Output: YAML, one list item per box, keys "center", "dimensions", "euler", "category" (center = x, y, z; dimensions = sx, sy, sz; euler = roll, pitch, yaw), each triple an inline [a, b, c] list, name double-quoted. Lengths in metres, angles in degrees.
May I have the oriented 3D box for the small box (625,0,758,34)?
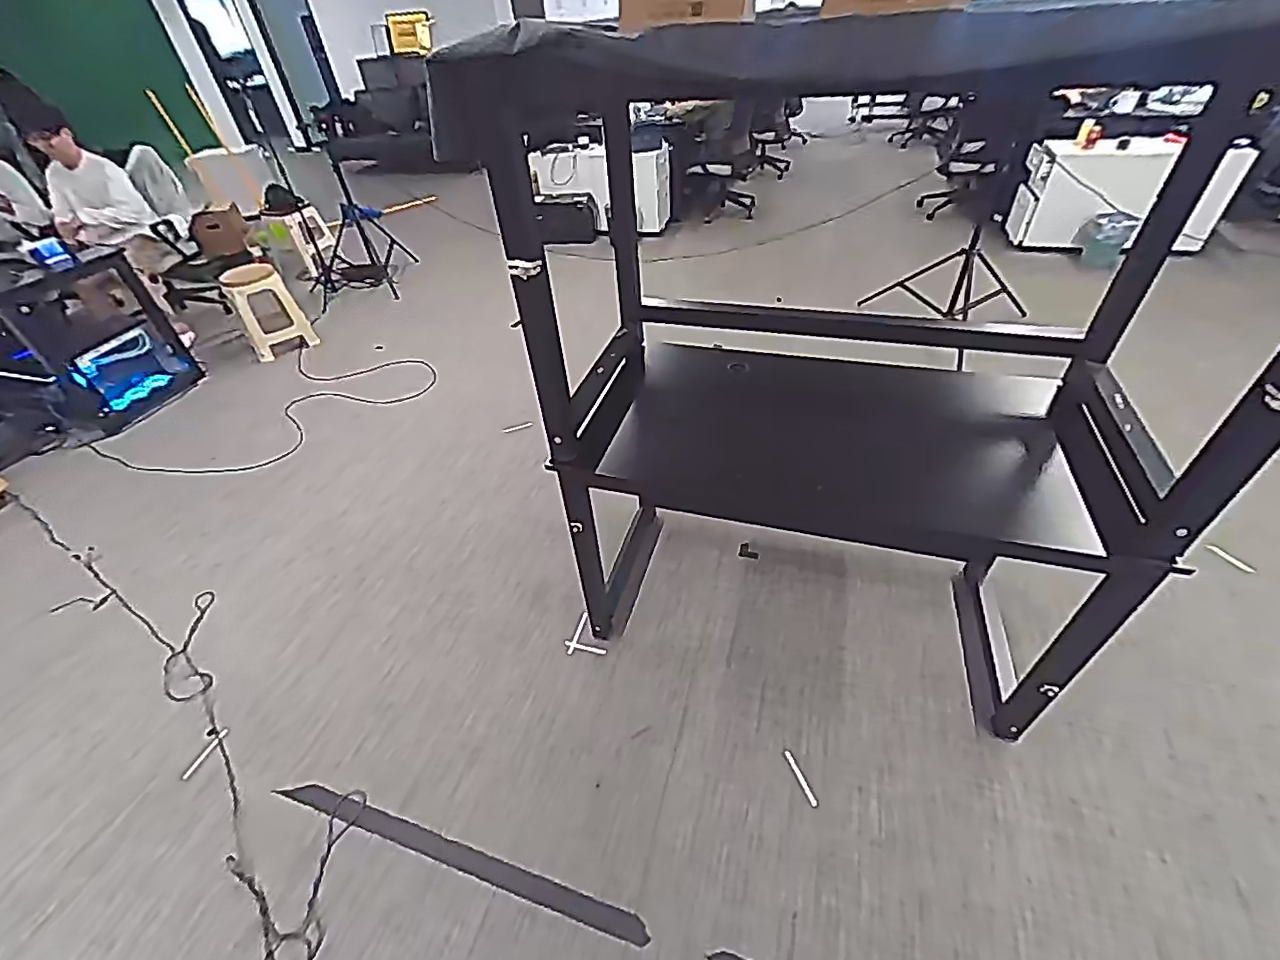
- center: [0.073, -0.698, 0.706]
  dimensions: [0.168, 0.176, 0.179]
  euler: [7, 42, 12]
  category: "small box"
